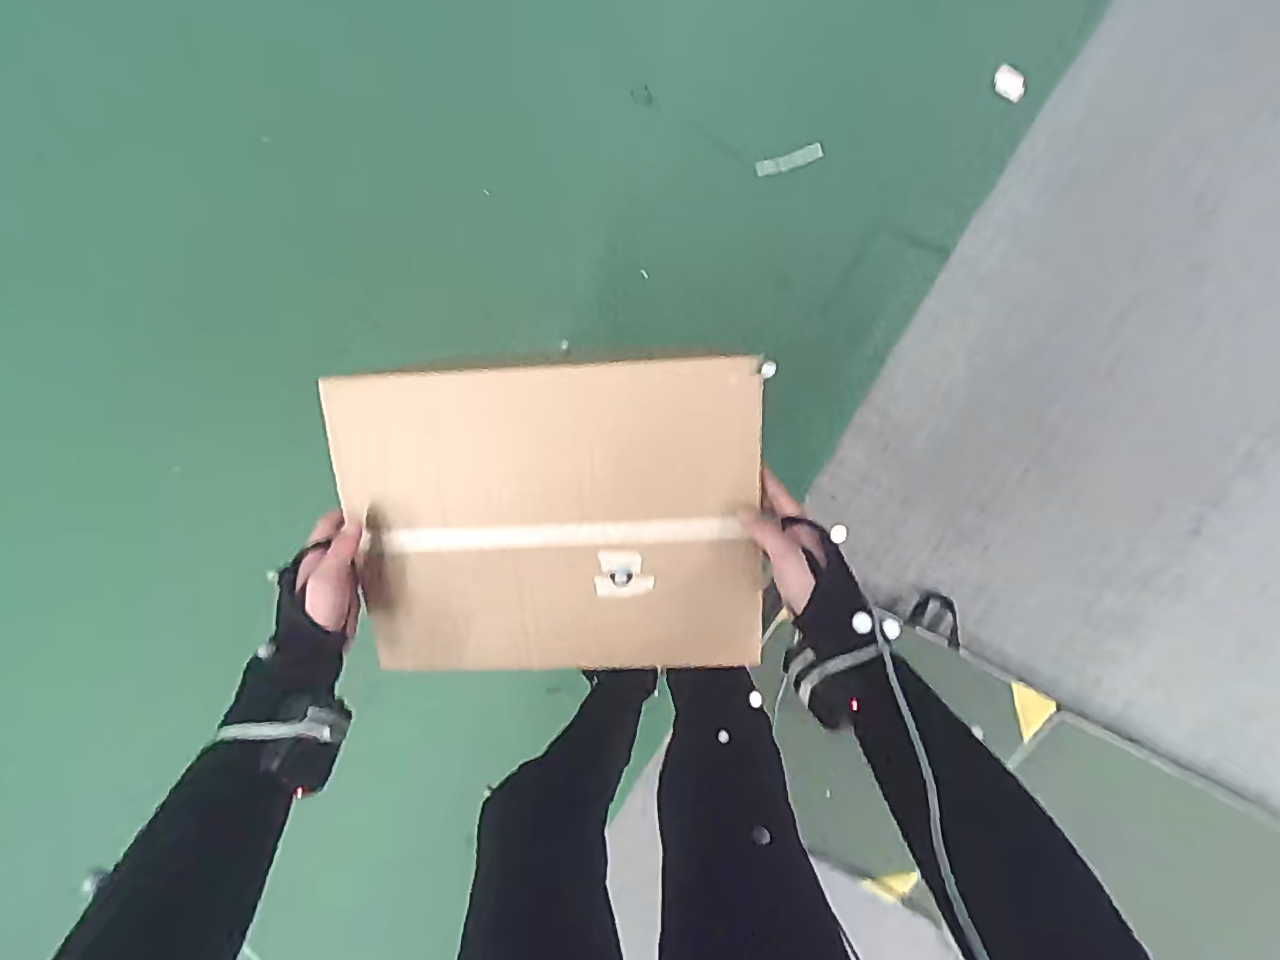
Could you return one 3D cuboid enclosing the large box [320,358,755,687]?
[{"bbox_3d":[-0.088,0.023,0.674,0.408,0.320,0.320,-4,106,3],"label":"large box"}]
